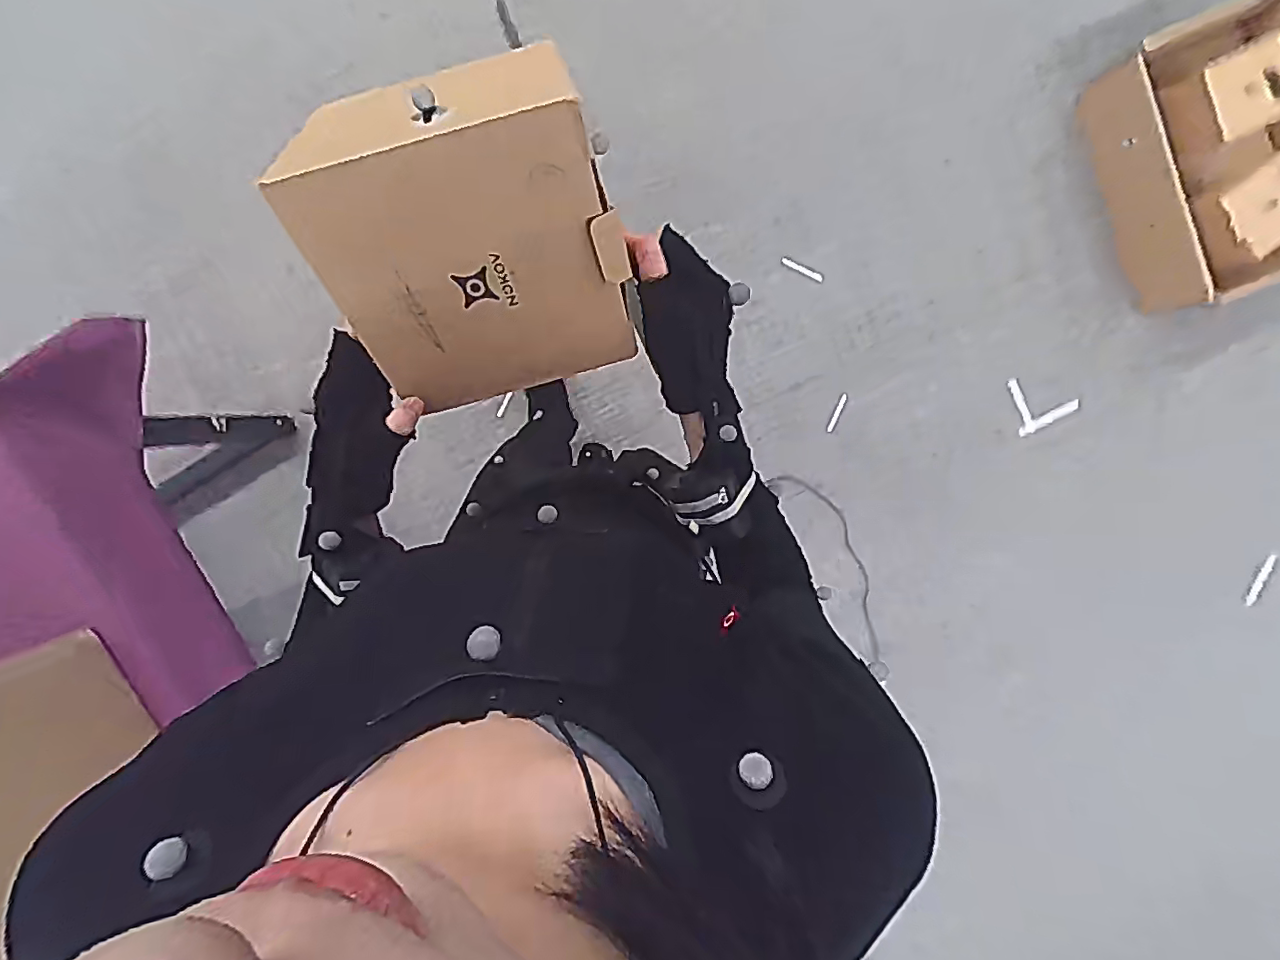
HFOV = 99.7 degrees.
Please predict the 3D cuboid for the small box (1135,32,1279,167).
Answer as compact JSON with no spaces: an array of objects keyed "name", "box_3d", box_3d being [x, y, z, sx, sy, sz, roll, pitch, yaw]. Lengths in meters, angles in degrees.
[{"name":"small box","box_3d":[1.342,-0.885,1.275,0.179,0.176,0.168,-26,97,3]}]
